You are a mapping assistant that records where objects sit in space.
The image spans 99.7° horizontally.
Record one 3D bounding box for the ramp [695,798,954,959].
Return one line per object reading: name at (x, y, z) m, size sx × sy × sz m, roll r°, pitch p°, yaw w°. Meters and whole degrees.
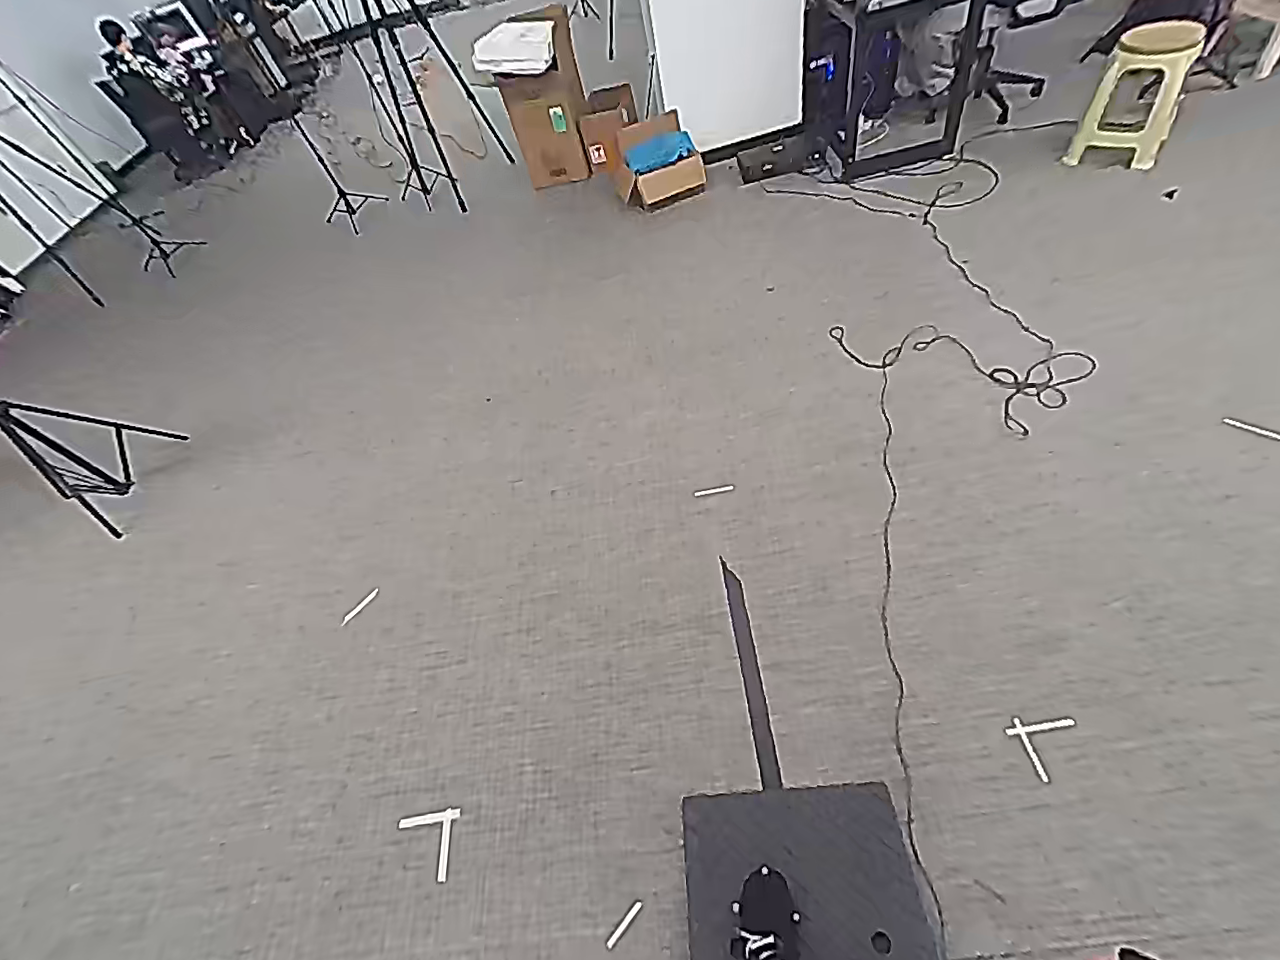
ramp at (0.375, 1.113, 0.922) m, size 0.509 × 0.206 × 0.991 m, roll -13°, pitch 48°, yaw 8°
